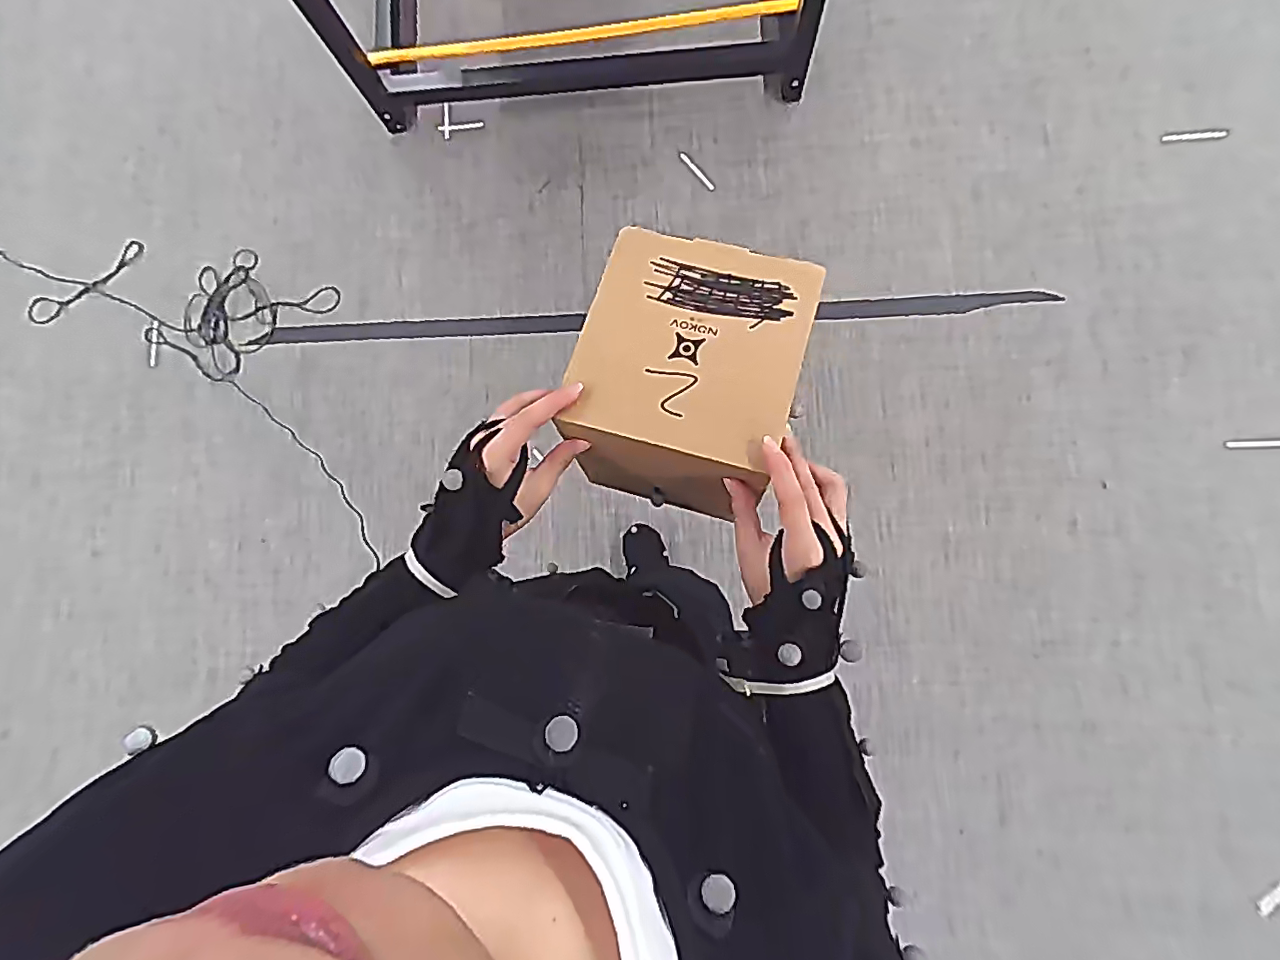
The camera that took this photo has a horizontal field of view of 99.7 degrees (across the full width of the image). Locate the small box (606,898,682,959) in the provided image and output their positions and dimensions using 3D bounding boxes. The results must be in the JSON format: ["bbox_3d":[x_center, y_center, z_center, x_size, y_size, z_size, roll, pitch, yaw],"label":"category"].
[{"bbox_3d":[0.011,1.090,1.221,0.168,0.176,0.179,0,85,5],"label":"small box"}]

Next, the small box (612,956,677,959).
[{"bbox_3d":[0.002,1.083,1.059,0.179,0.176,0.168,-7,84,4],"label":"small box"}]
